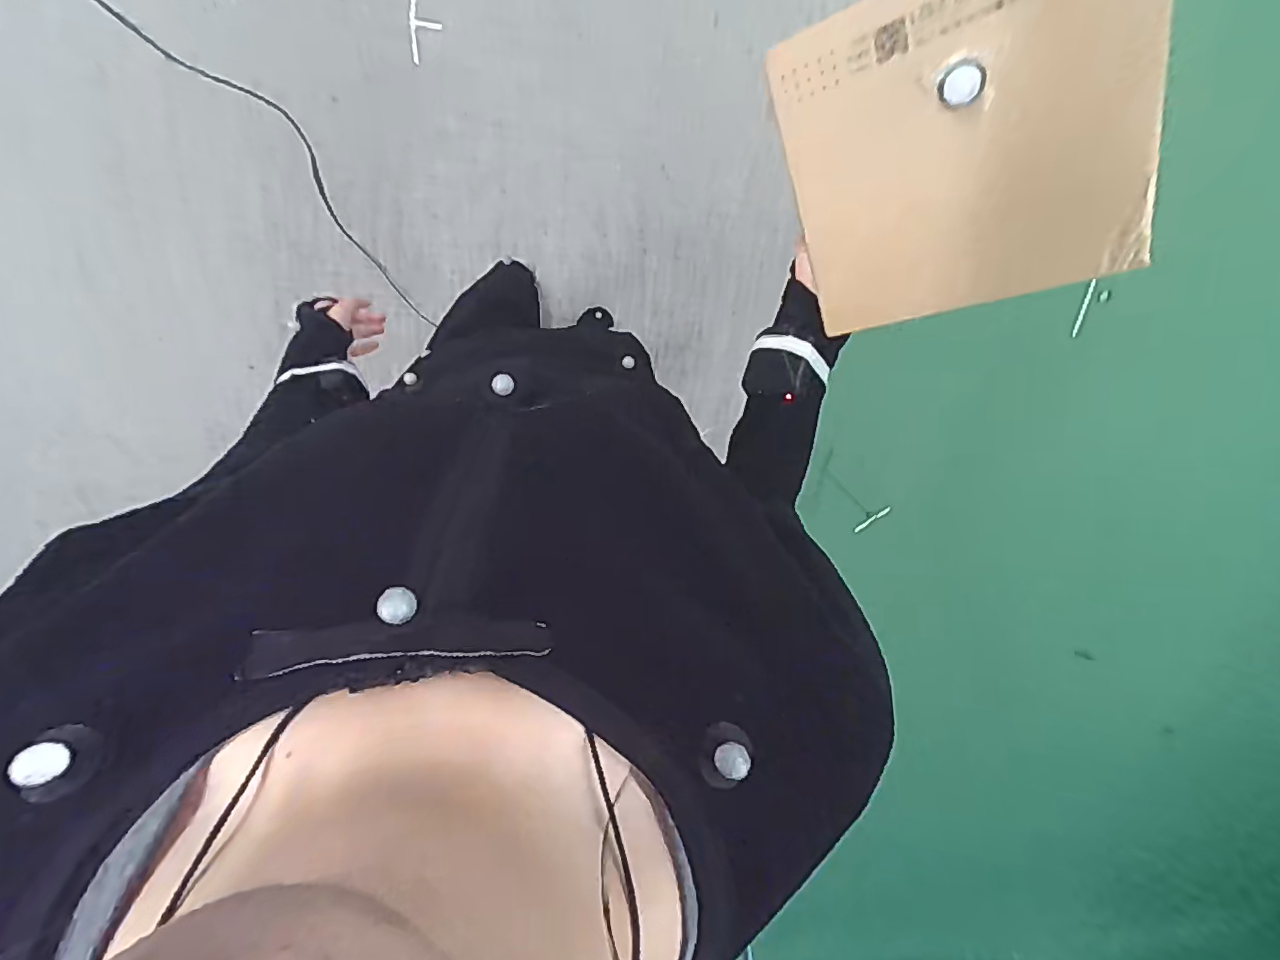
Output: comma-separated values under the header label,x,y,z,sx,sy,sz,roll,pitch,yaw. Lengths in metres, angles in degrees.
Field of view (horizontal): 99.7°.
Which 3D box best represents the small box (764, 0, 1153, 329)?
label,x,y,z,sx,sy,sz,roll,pitch,yaw
small box,0.193,-0.227,0.341,0.168,0.179,0.176,-8,125,32
